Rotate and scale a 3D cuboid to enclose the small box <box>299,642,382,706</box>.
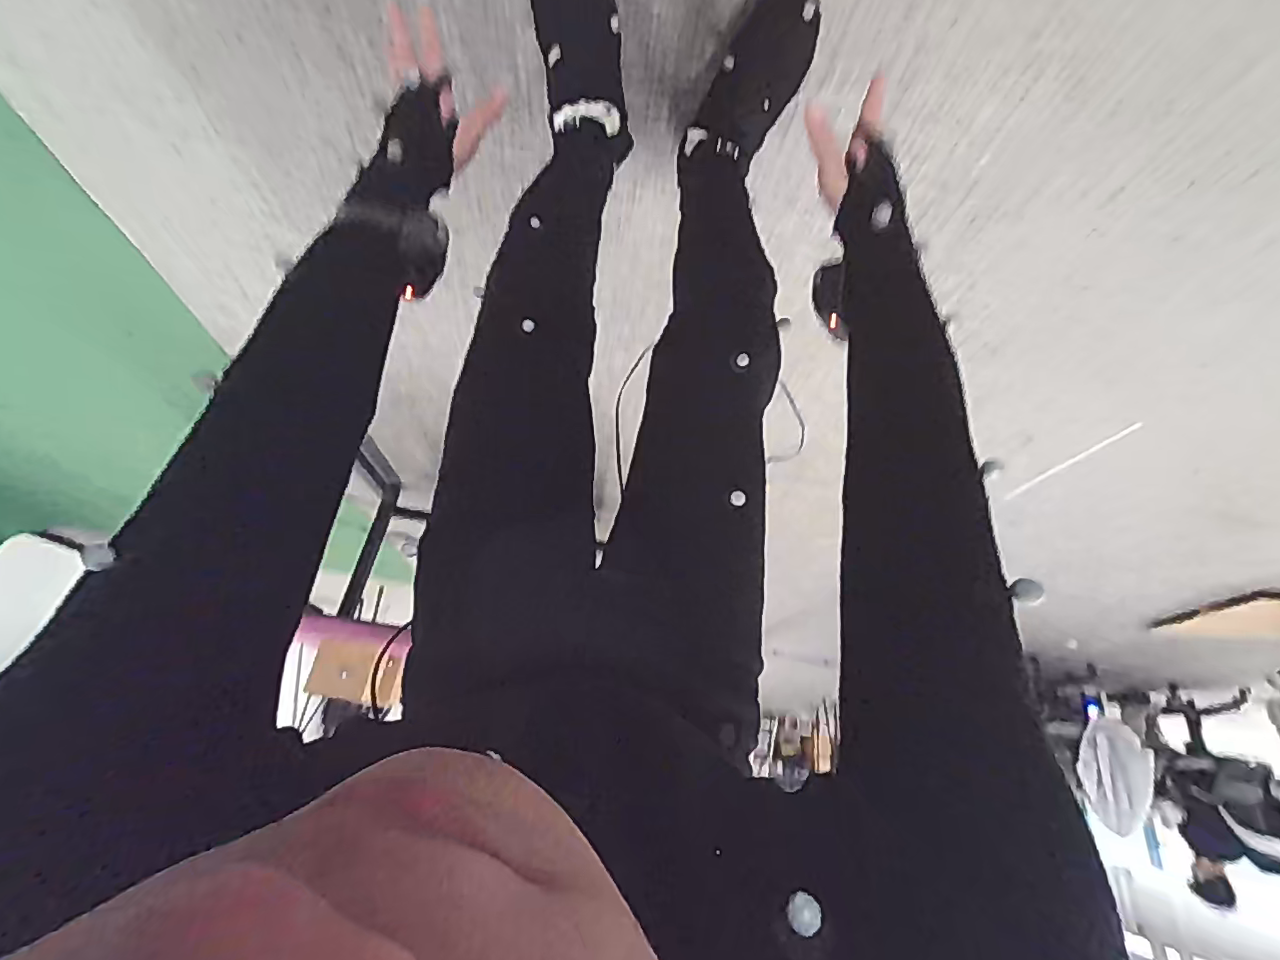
[{"bbox_3d":[-0.944,0.621,1.726,0.179,0.176,0.168,12,154,-8],"label":"small box"}]

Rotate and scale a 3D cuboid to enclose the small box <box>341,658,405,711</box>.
[{"bbox_3d":[-0.975,0.738,1.969,0.168,0.176,0.179,13,154,-9],"label":"small box"}]
